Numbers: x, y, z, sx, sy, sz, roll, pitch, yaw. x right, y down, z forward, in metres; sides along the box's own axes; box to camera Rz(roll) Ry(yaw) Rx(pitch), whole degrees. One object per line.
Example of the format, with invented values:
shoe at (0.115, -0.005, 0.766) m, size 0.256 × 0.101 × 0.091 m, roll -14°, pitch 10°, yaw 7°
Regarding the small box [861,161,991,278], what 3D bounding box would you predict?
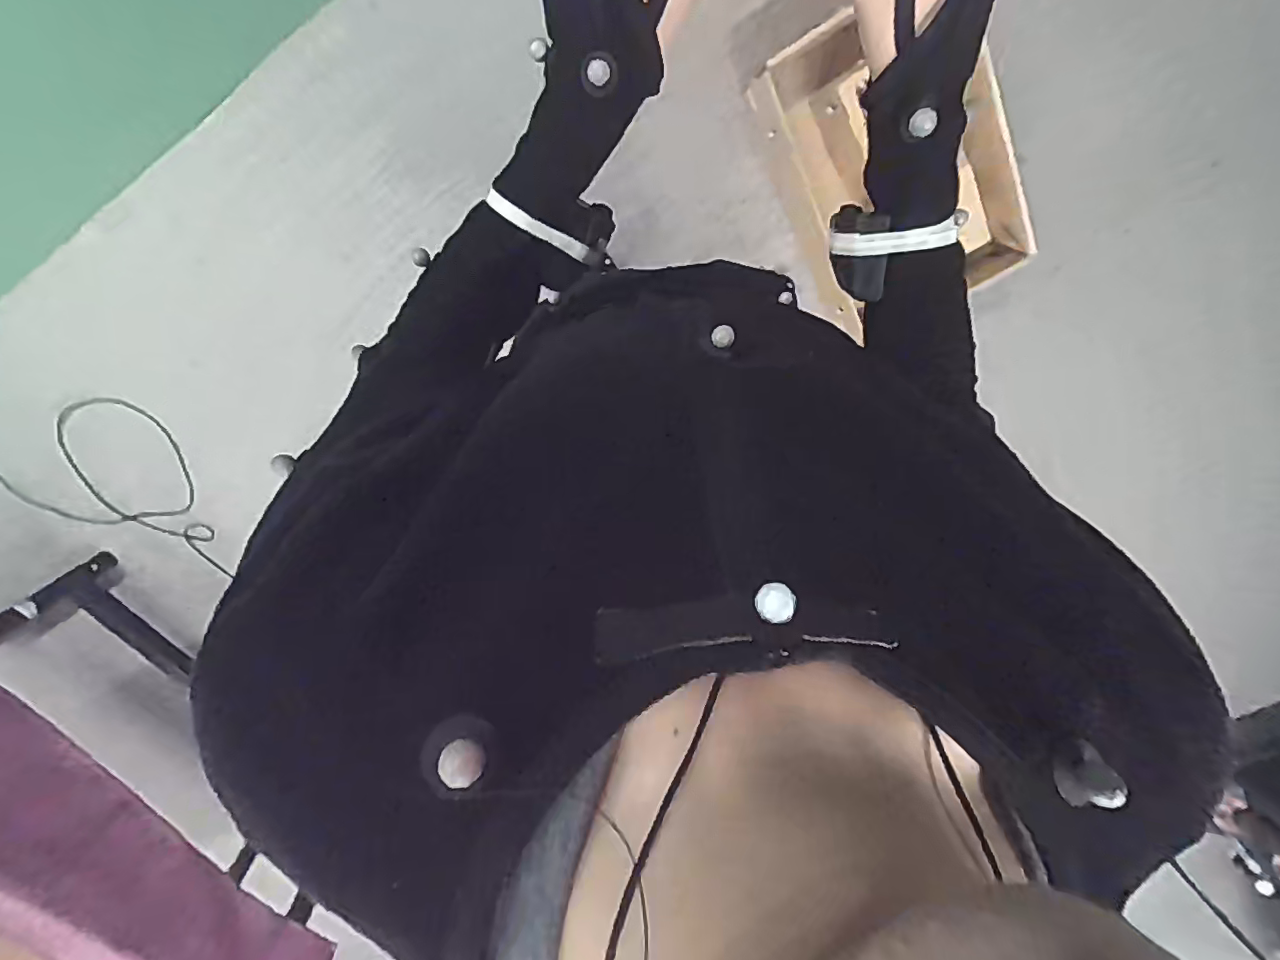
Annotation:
small box at (0.622, -0.569, 1.194) m, size 0.179 × 0.176 × 0.168 m, roll -27°, pitch 110°, yaw 11°
